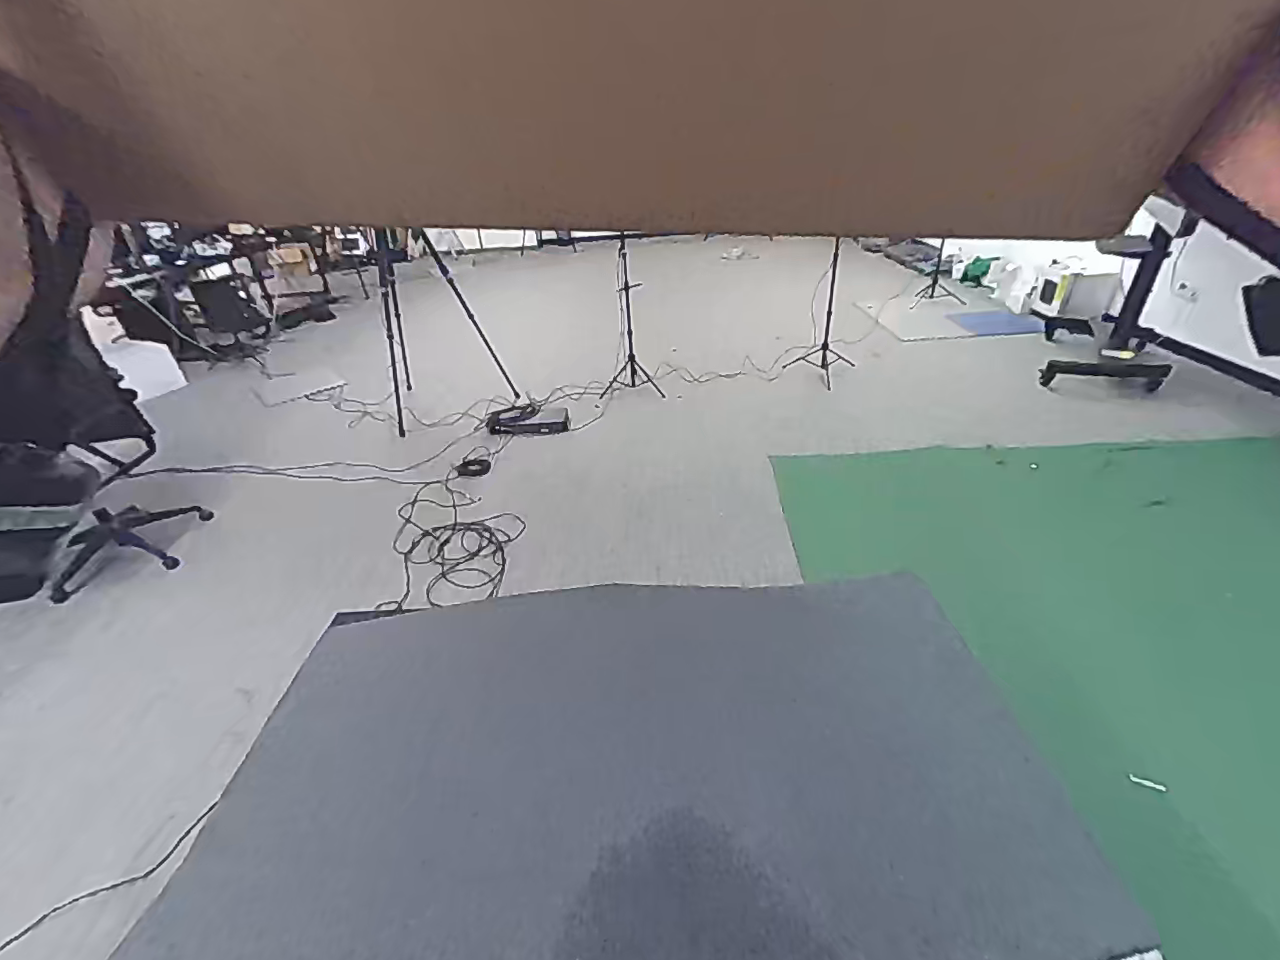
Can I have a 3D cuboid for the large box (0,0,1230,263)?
[{"bbox_3d":[-0.016,-0.301,0.206,0.408,0.320,0.320,1,52,0],"label":"large box"}]
